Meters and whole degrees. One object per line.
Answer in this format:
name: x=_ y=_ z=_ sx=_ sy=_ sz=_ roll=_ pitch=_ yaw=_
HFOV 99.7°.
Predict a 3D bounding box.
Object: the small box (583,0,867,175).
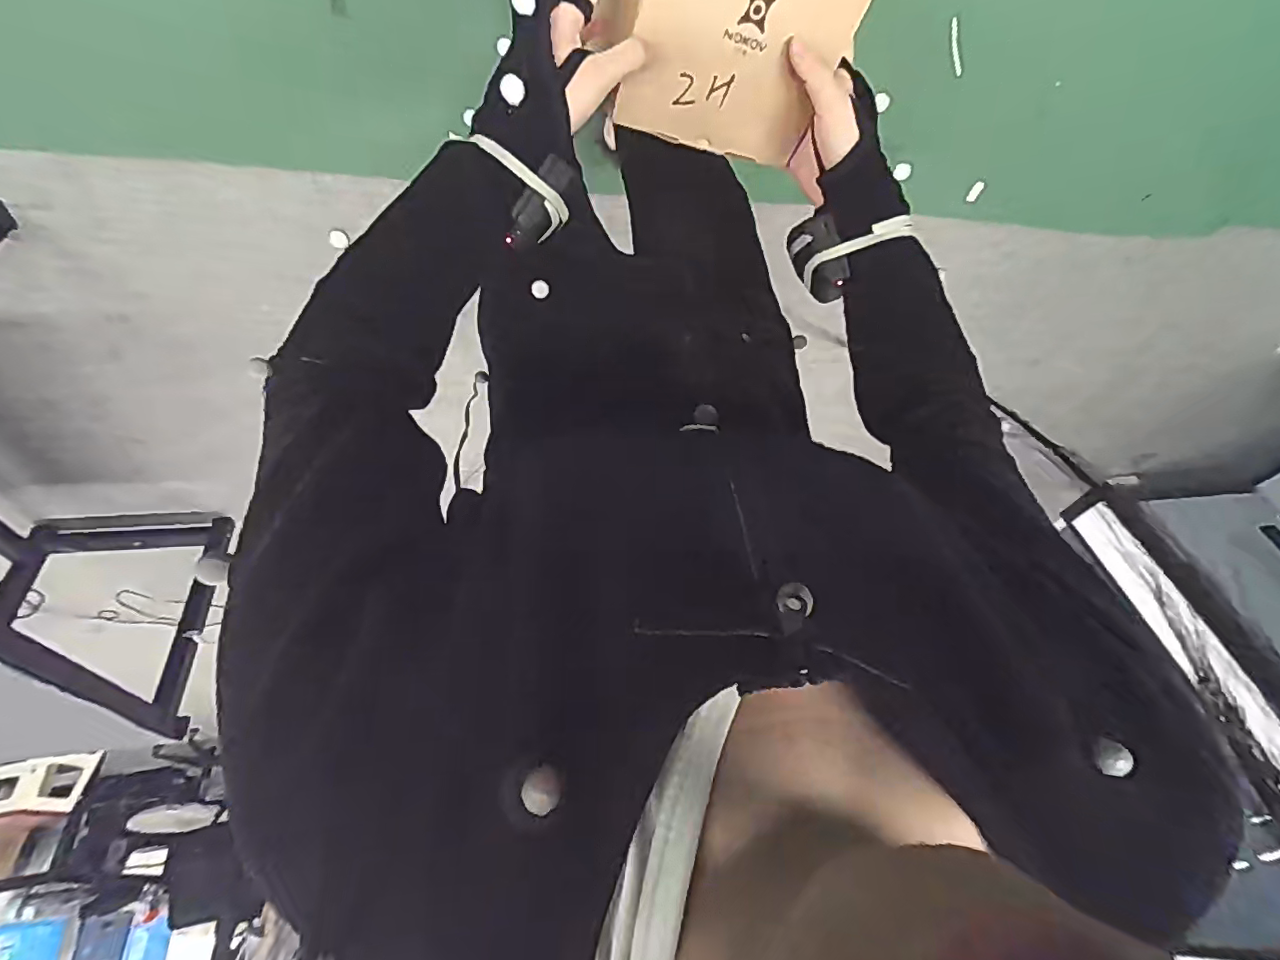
small box: x=0.059 y=-0.393 z=0.438 sx=0.168 sy=0.176 sz=0.179 roll=1 pitch=145 yaw=-22
